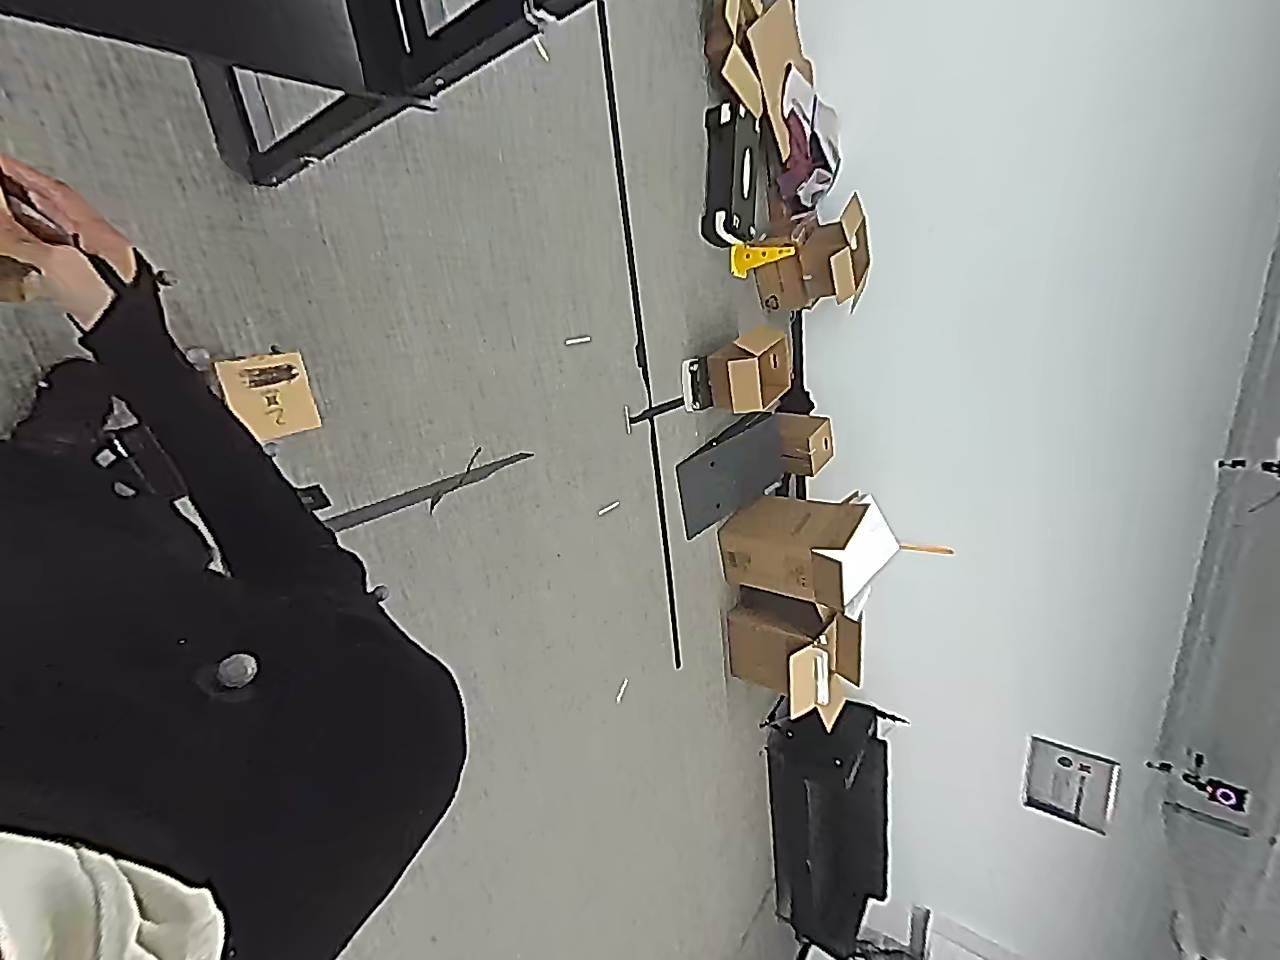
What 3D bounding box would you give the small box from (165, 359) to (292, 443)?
[{"bbox_3d":[-0.987,-0.196,1.300,0.179,0.176,0.168,-30,119,-46],"label":"small box"}]
